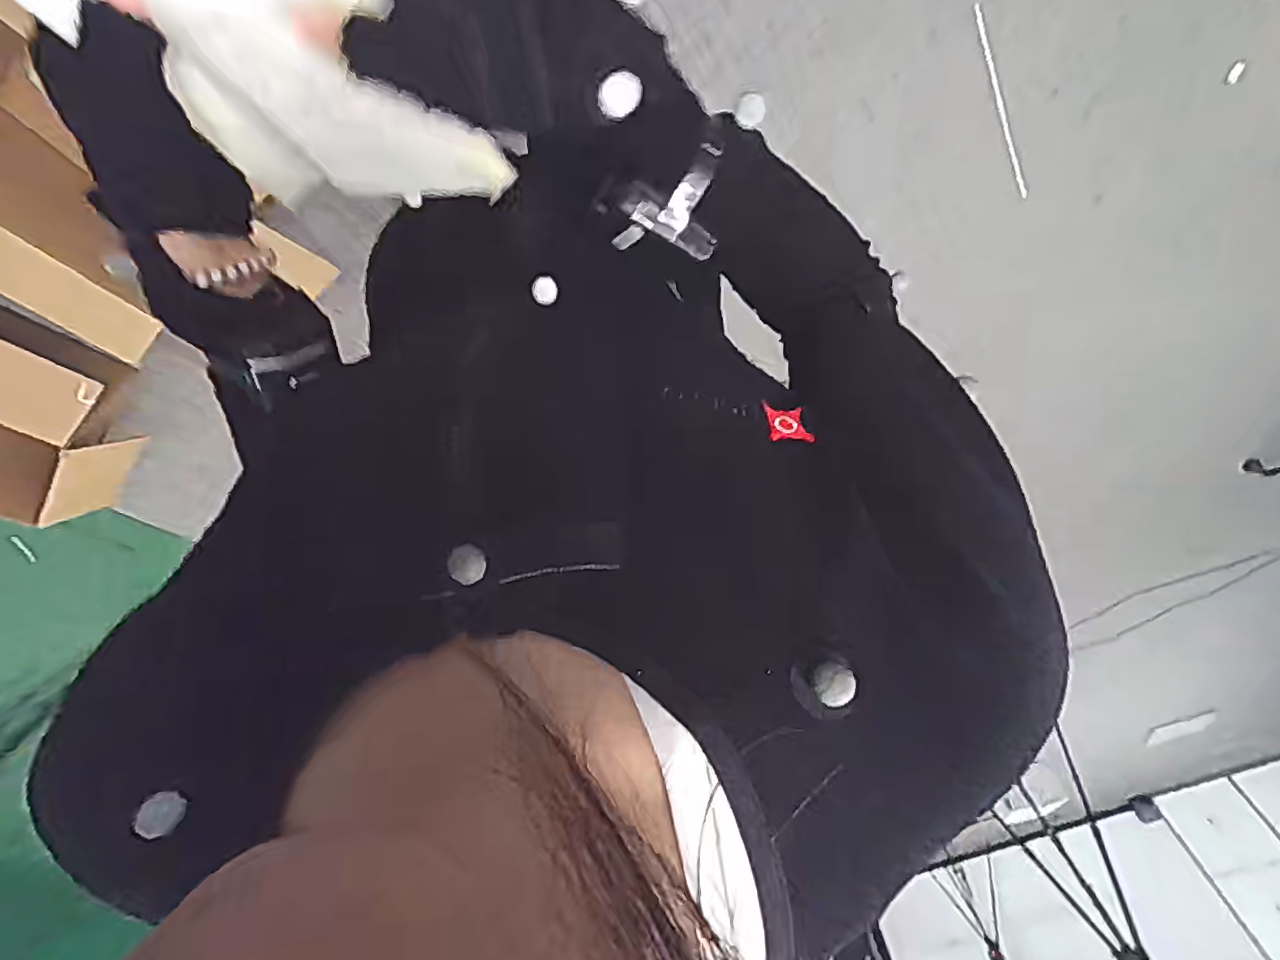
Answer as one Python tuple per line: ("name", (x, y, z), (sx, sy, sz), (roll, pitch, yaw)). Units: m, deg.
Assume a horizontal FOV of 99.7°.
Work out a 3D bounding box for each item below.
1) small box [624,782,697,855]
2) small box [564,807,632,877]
("small box", (0.063, 1.148, 1.835), (0.179, 0.176, 0.168), (-37, 129, 22))
("small box", (-0.151, 1.278, 1.912), (0.168, 0.176, 0.179), (-33, 131, 17))
